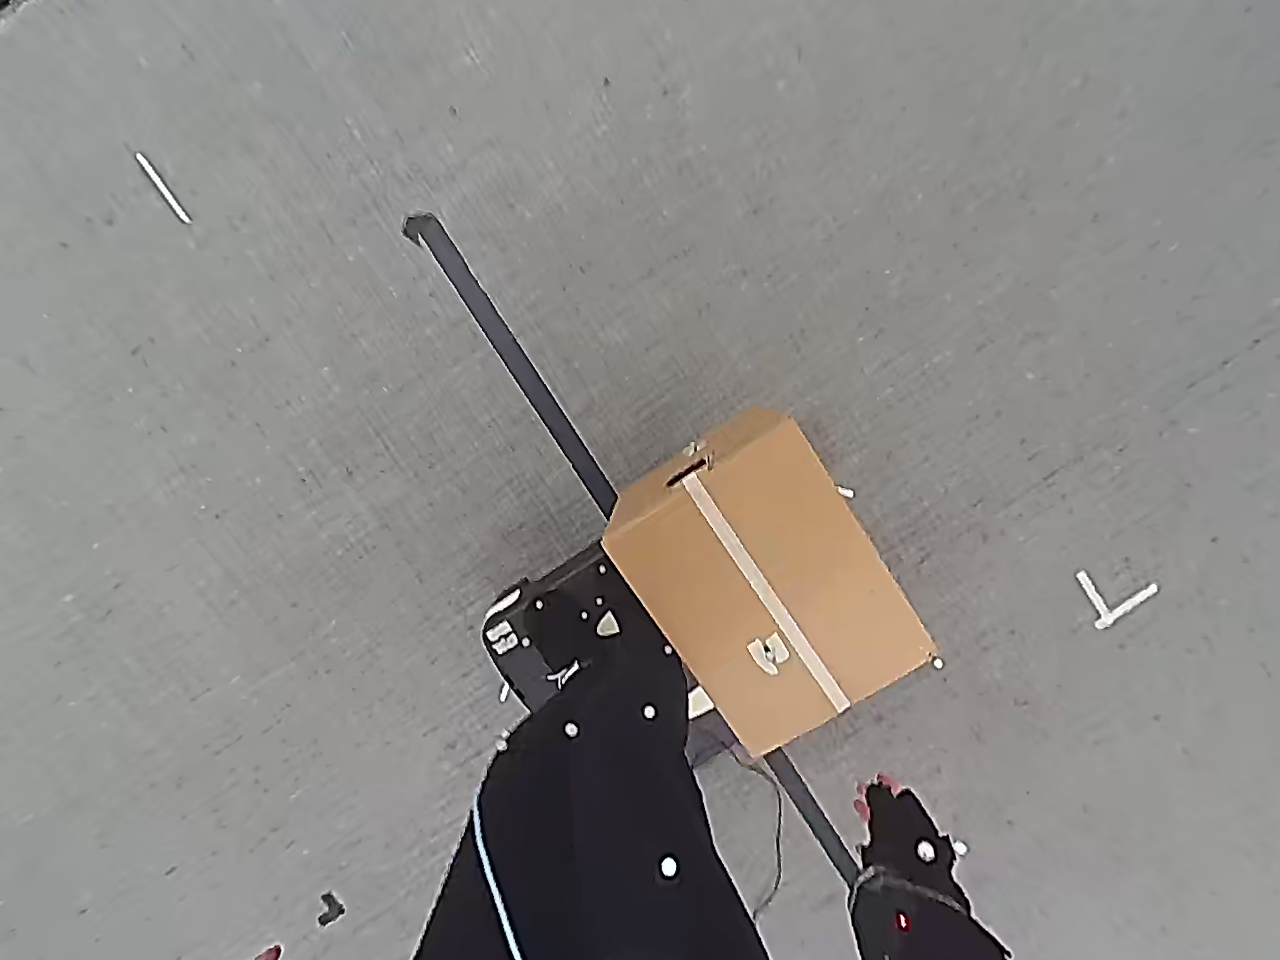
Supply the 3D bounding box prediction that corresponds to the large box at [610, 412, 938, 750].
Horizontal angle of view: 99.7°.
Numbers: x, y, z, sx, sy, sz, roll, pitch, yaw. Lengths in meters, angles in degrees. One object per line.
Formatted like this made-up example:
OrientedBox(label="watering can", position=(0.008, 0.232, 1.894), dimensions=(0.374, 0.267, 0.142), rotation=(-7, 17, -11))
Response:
OrientedBox(label="large box", position=(0.196, 0.139, 0.915), dimensions=(0.320, 0.320, 0.408), rotation=(-34, 98, 9))
